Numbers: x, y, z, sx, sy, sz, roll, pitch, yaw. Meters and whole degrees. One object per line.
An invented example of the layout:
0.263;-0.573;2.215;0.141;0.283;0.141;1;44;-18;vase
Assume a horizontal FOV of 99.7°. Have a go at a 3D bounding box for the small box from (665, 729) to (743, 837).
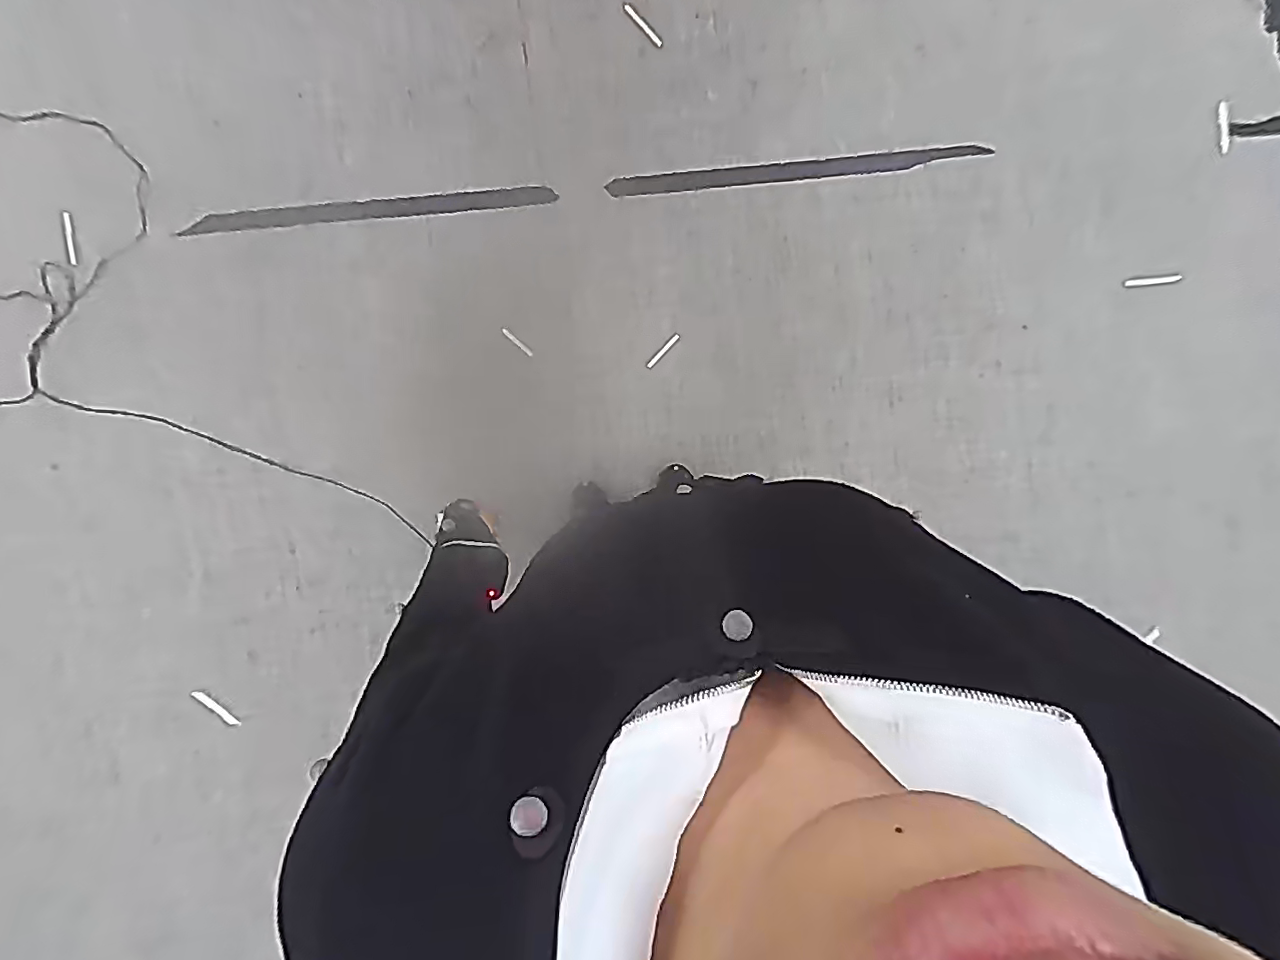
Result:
0.153;0.739;1.341;0.168;0.176;0.179;-6;91;0;small box
